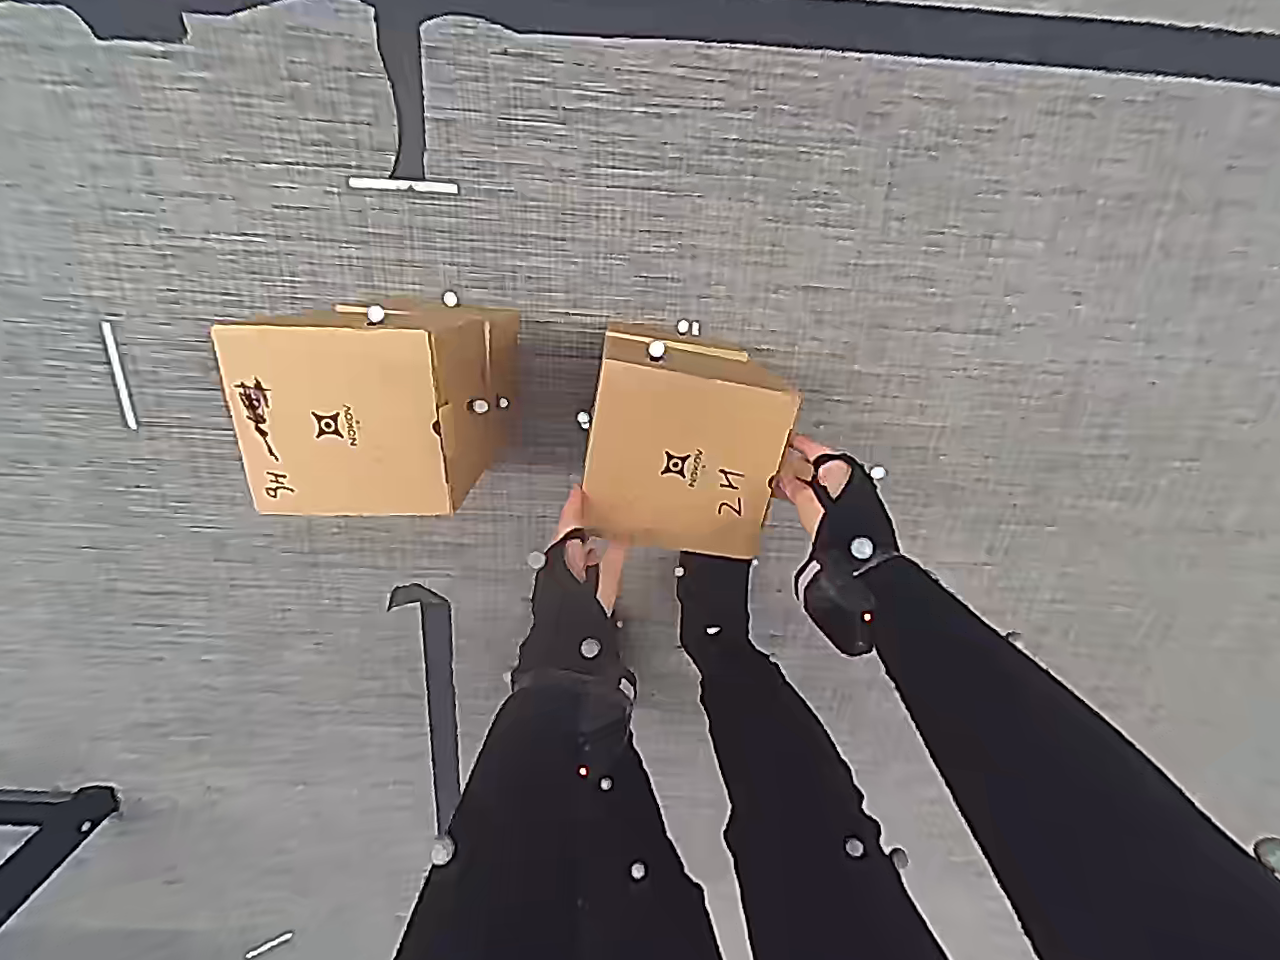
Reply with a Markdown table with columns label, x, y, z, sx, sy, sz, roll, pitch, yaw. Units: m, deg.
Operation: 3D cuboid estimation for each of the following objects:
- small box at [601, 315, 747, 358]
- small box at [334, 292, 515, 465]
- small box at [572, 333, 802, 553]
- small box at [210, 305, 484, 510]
| label | x | y | z | sx | sy | sz | roll | pitch | yaw |
| --- | --- | --- | --- | --- | --- | --- | --- | --- | --- |
| small box | 0.024 | -0.108 | 0.704 | 0.168 | 0.176 | 0.179 | 8 | 110 | -6 |
| small box | -0.256 | -0.135 | 0.681 | 0.168 | 0.176 | 0.179 | 5 | 110 | -5 |
| small box | 0.034 | -0.048 | 0.552 | 0.179 | 0.176 | 0.168 | 10 | 111 | -7 |
| small box | -0.255 | -0.079 | 0.526 | 0.179 | 0.176 | 0.168 | 1 | 110 | -3 |
